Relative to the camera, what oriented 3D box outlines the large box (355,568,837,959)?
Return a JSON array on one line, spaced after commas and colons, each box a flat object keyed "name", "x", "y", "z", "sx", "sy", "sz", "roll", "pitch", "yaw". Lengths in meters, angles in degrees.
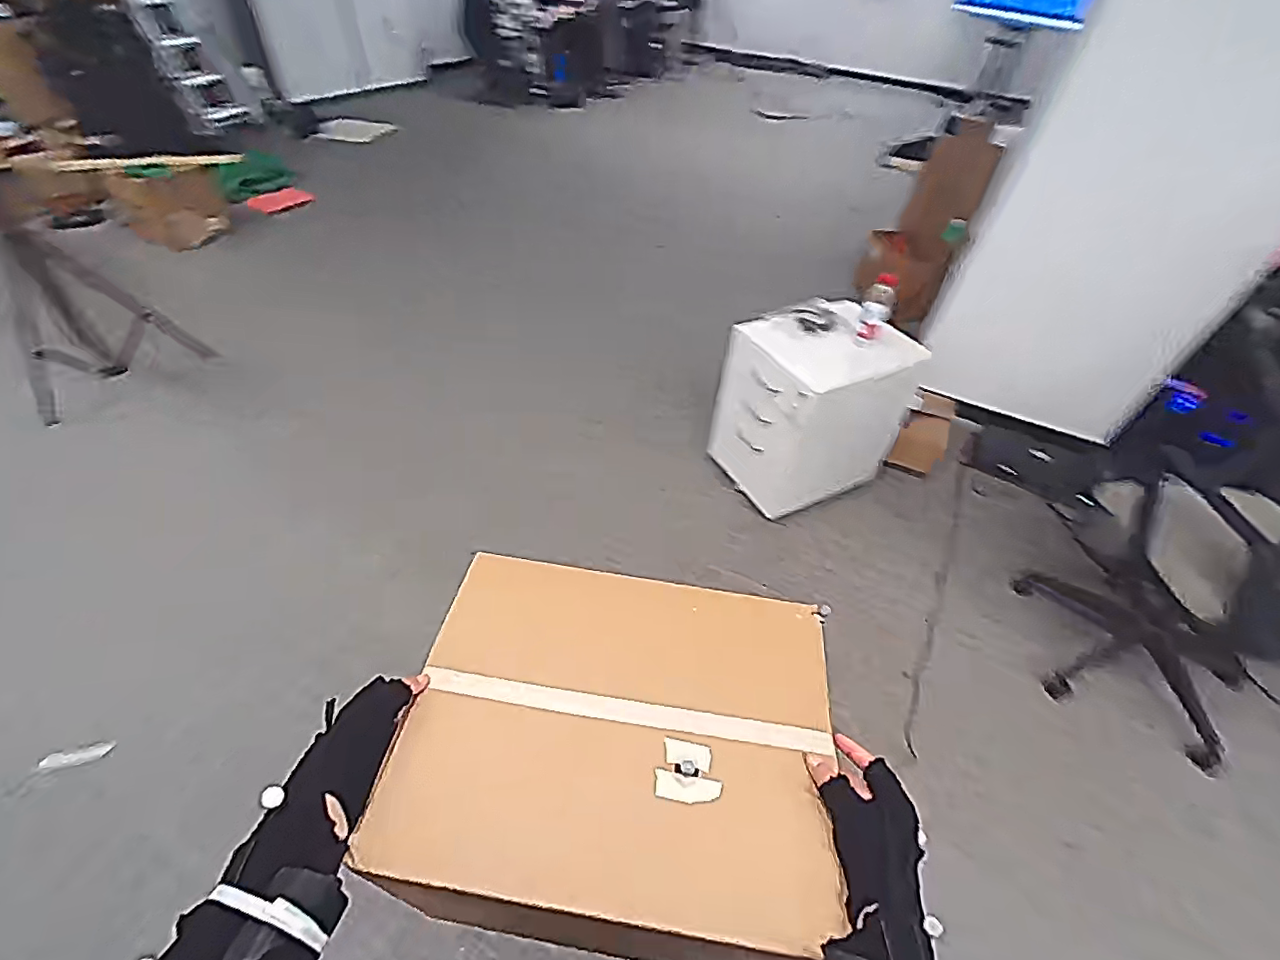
[{"name": "large box", "x": -0.033, "y": 0.340, "z": 0.643, "sx": 0.408, "sy": 0.320, "sz": 0.320, "roll": 8, "pitch": 46, "yaw": 2}]
